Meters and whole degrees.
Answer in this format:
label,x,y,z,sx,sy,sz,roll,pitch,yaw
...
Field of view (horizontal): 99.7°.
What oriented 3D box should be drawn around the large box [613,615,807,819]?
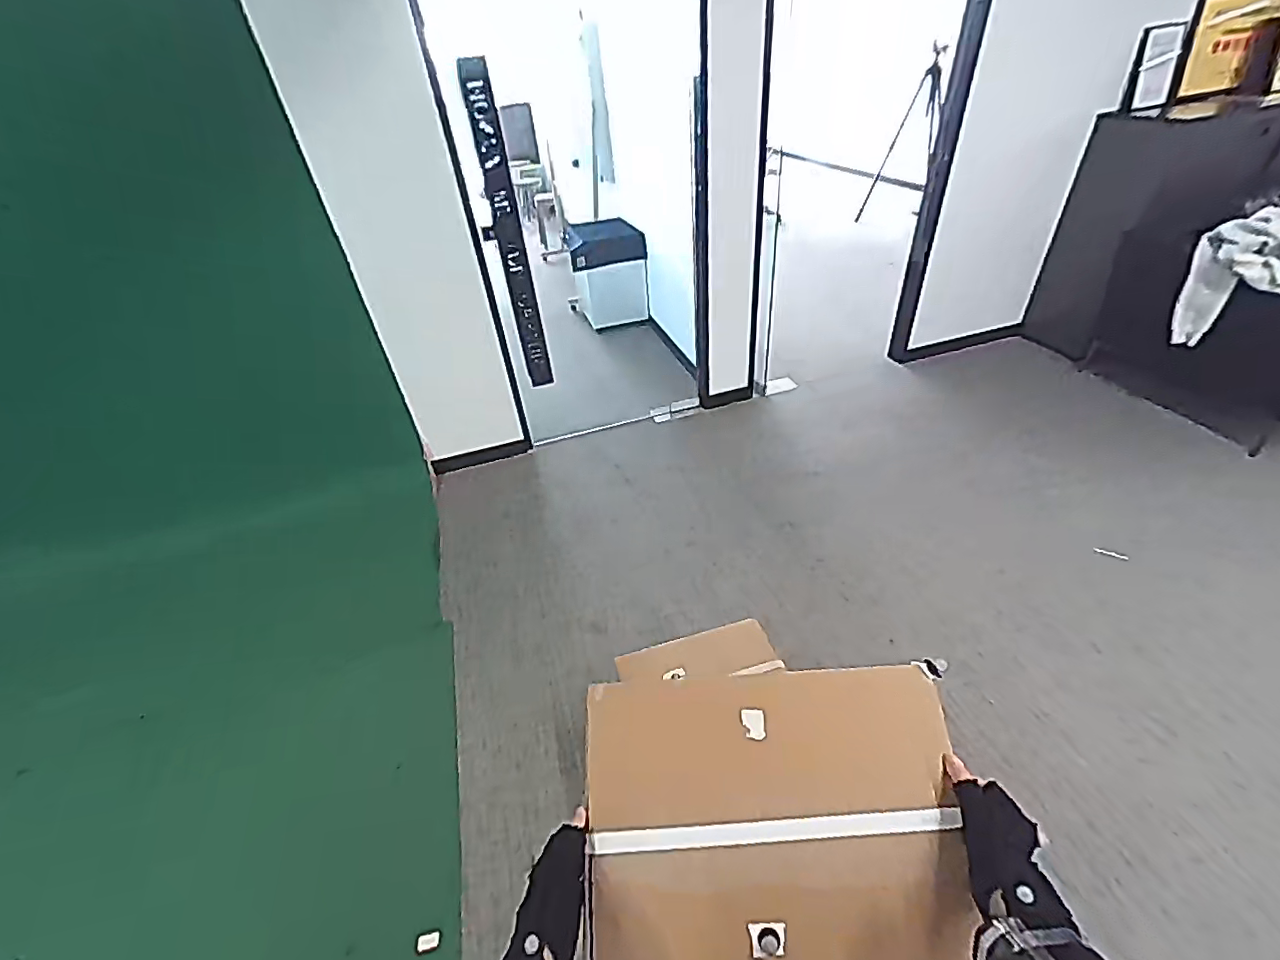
label,x,y,z,sx,sy,sz,roll,pitch,yaw
large box,0.173,0.620,1.428,0.408,0.320,0.320,-14,39,-9
